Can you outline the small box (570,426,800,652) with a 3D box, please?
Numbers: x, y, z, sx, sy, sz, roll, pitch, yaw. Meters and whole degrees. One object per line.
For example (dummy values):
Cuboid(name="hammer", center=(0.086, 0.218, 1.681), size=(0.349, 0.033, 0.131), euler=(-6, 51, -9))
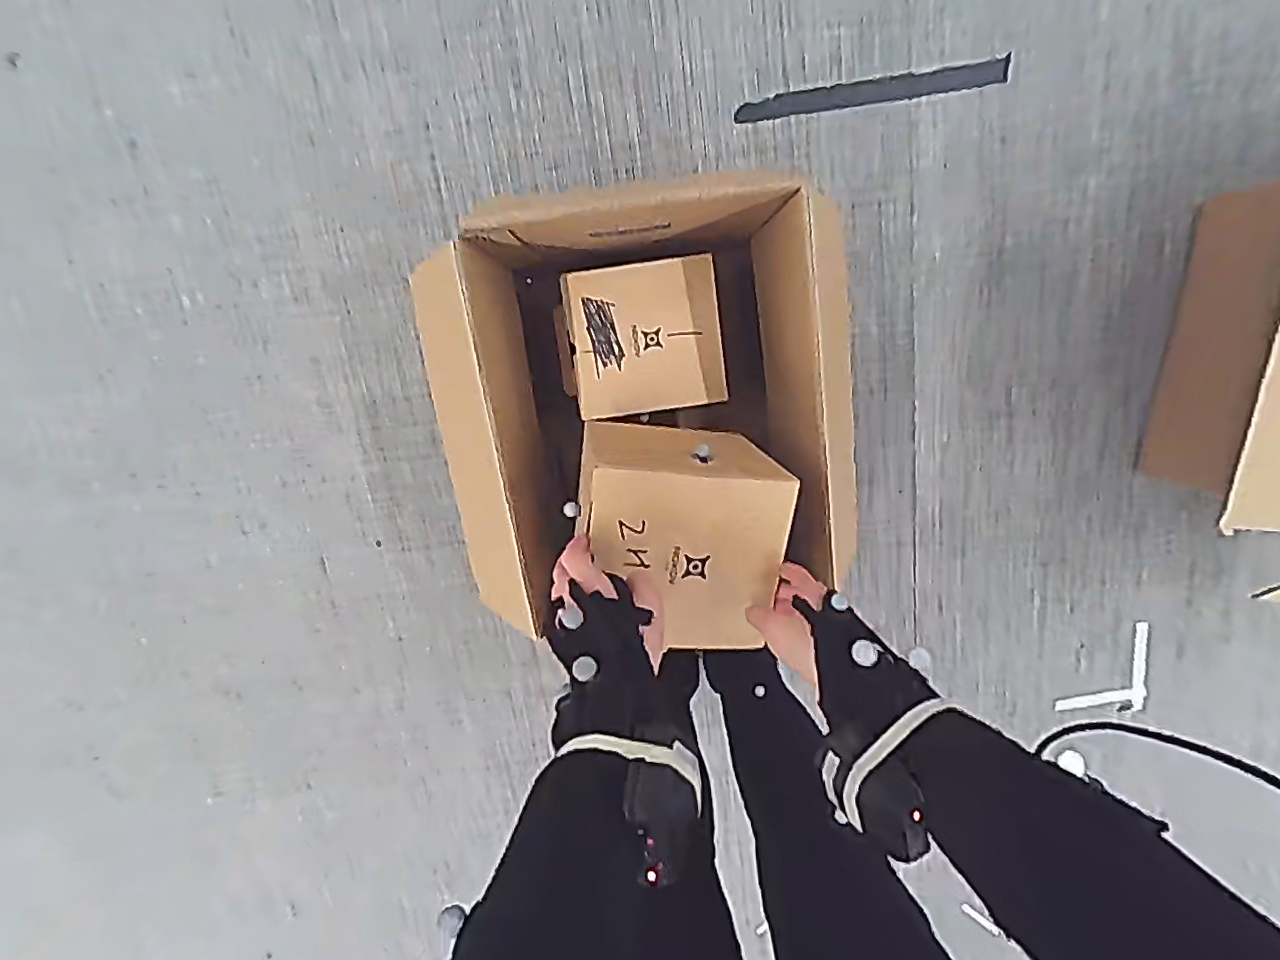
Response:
Cuboid(name="small box", center=(0.027, 0.048, 0.532), size=(0.179, 0.176, 0.168), euler=(5, 107, -10))
